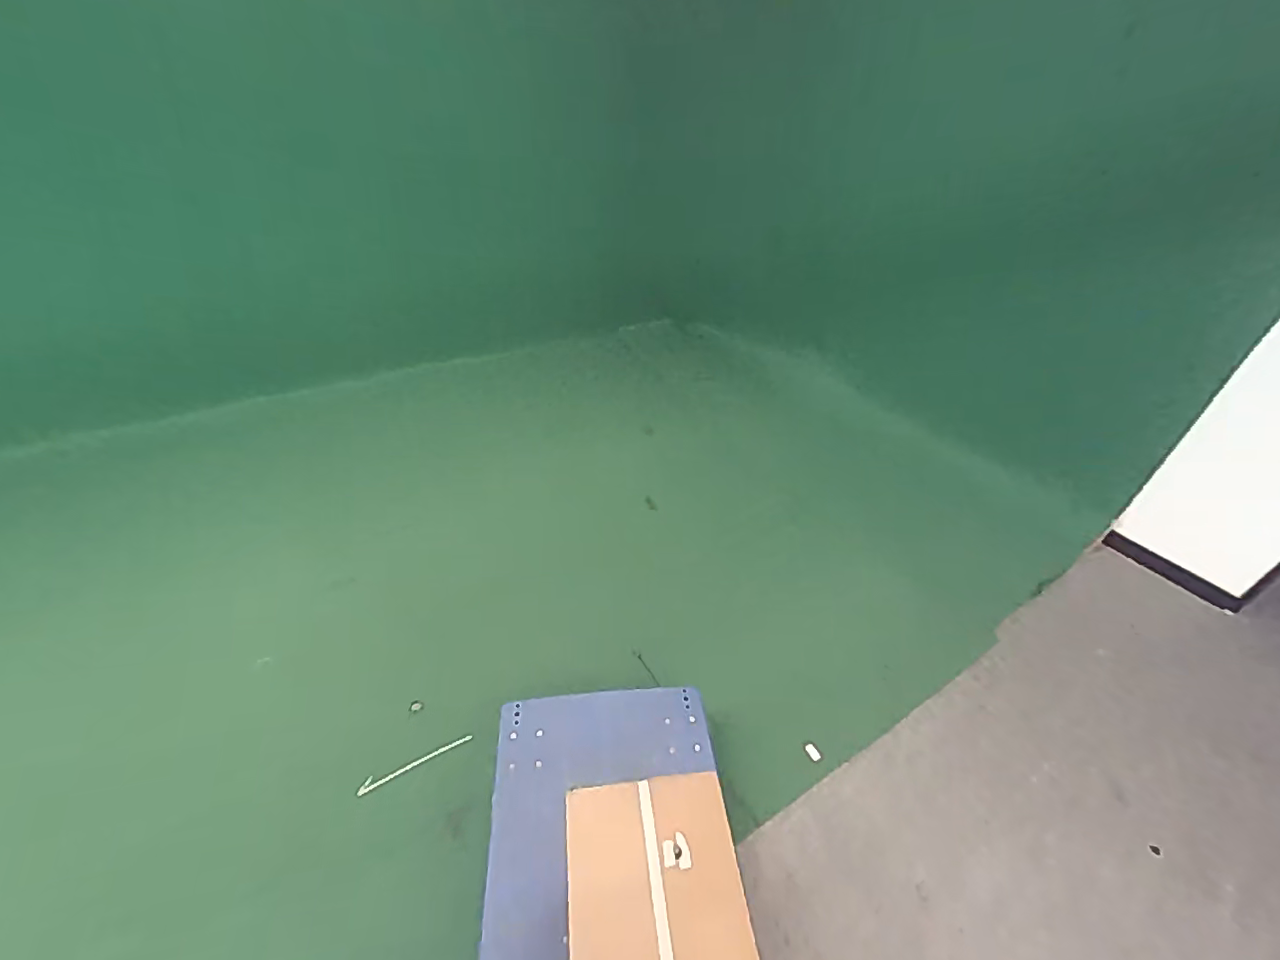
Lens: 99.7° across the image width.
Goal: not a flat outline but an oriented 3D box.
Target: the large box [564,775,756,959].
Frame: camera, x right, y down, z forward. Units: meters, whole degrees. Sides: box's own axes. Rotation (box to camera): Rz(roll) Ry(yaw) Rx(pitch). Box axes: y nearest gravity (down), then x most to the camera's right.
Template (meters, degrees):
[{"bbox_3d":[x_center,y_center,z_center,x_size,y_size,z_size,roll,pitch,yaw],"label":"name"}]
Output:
[{"bbox_3d":[0.022,0.869,1.057,0.320,0.320,0.408,-3,38,-8],"label":"large box"}]
